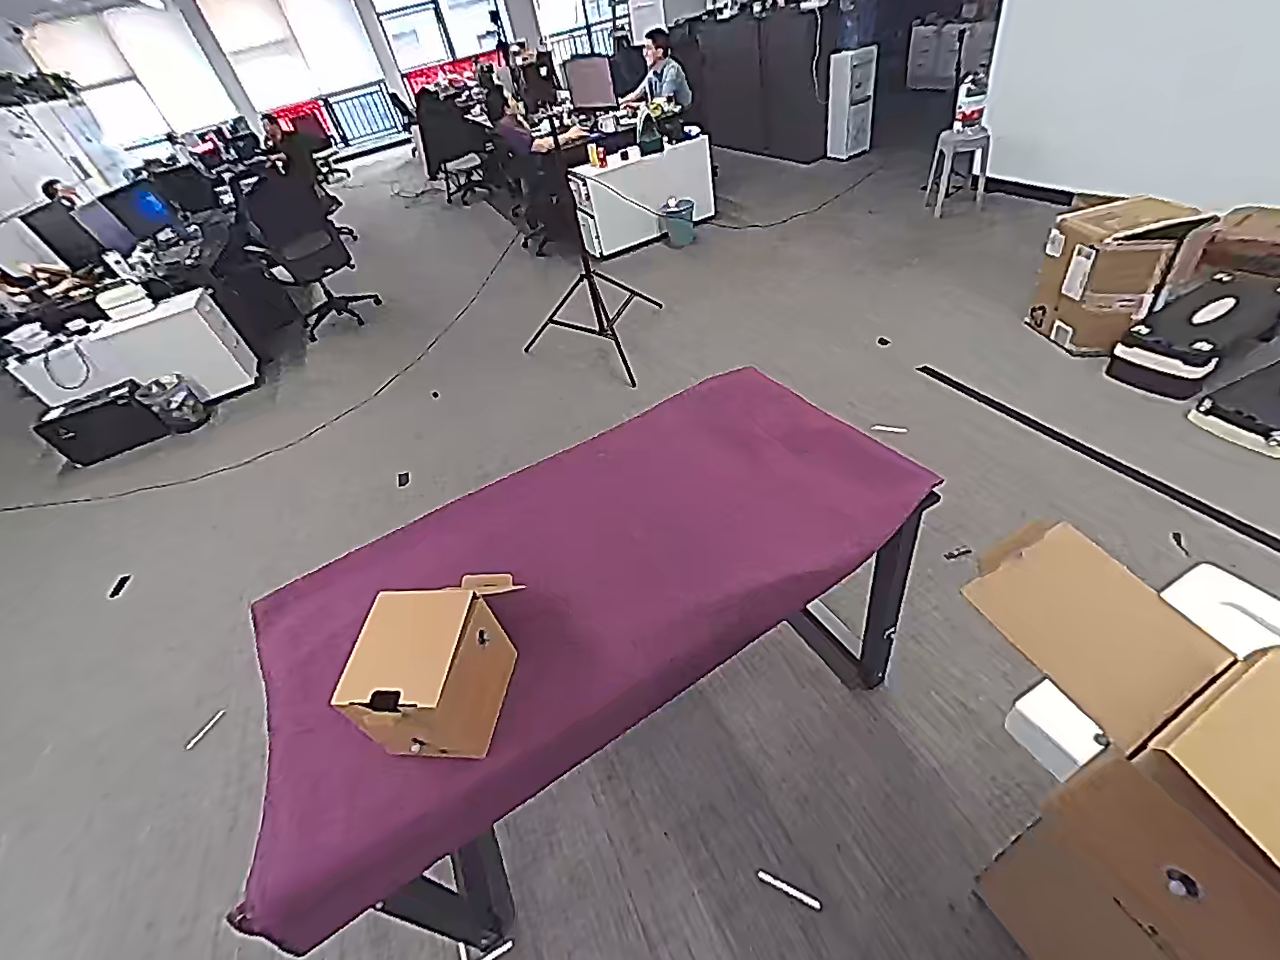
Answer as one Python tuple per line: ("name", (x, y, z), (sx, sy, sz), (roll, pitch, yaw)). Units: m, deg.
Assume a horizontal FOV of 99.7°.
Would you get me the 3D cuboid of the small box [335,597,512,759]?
("small box", (-0.314, 0.301, 0.832), (0.168, 0.176, 0.179), (-4, 42, 13))
